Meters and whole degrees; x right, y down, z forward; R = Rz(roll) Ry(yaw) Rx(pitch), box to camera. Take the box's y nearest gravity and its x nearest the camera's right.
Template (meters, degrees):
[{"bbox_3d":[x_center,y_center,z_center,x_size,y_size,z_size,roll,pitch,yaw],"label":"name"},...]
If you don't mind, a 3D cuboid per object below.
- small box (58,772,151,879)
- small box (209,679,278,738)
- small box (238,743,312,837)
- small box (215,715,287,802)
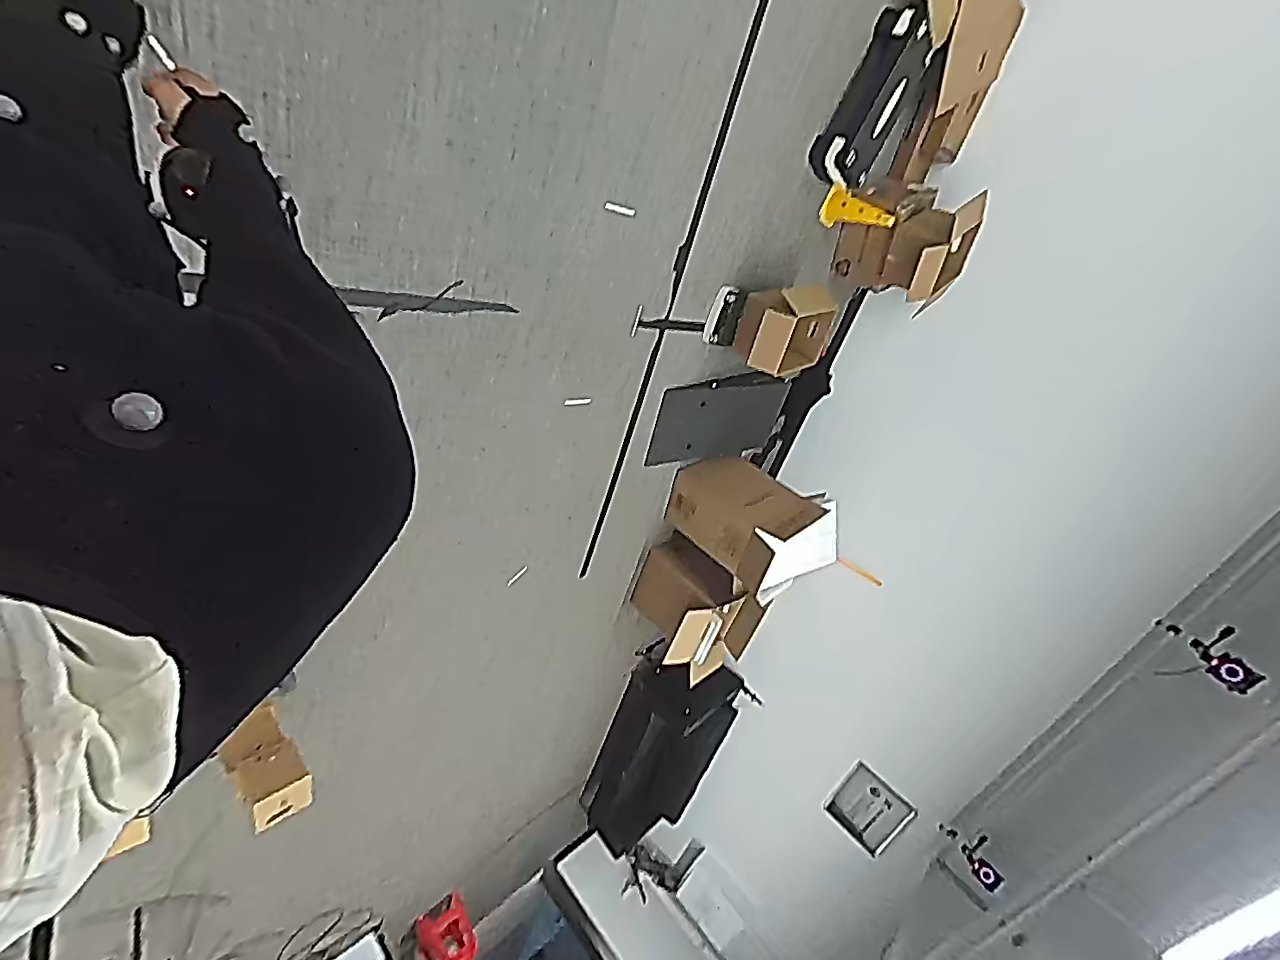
[{"bbox_3d":[-1.590,1.016,1.608,0.179,0.176,0.168,-8,128,-49],"label":"small box"},{"bbox_3d":[-1.442,0.867,1.971,0.168,0.176,0.179,-19,135,-44],"label":"small box"},{"bbox_3d":[-1.211,1.022,1.796,0.168,0.176,0.179,-17,134,-46],"label":"small box"},{"bbox_3d":[-1.340,0.959,1.880,0.179,0.176,0.168,-20,136,-43],"label":"small box"}]
